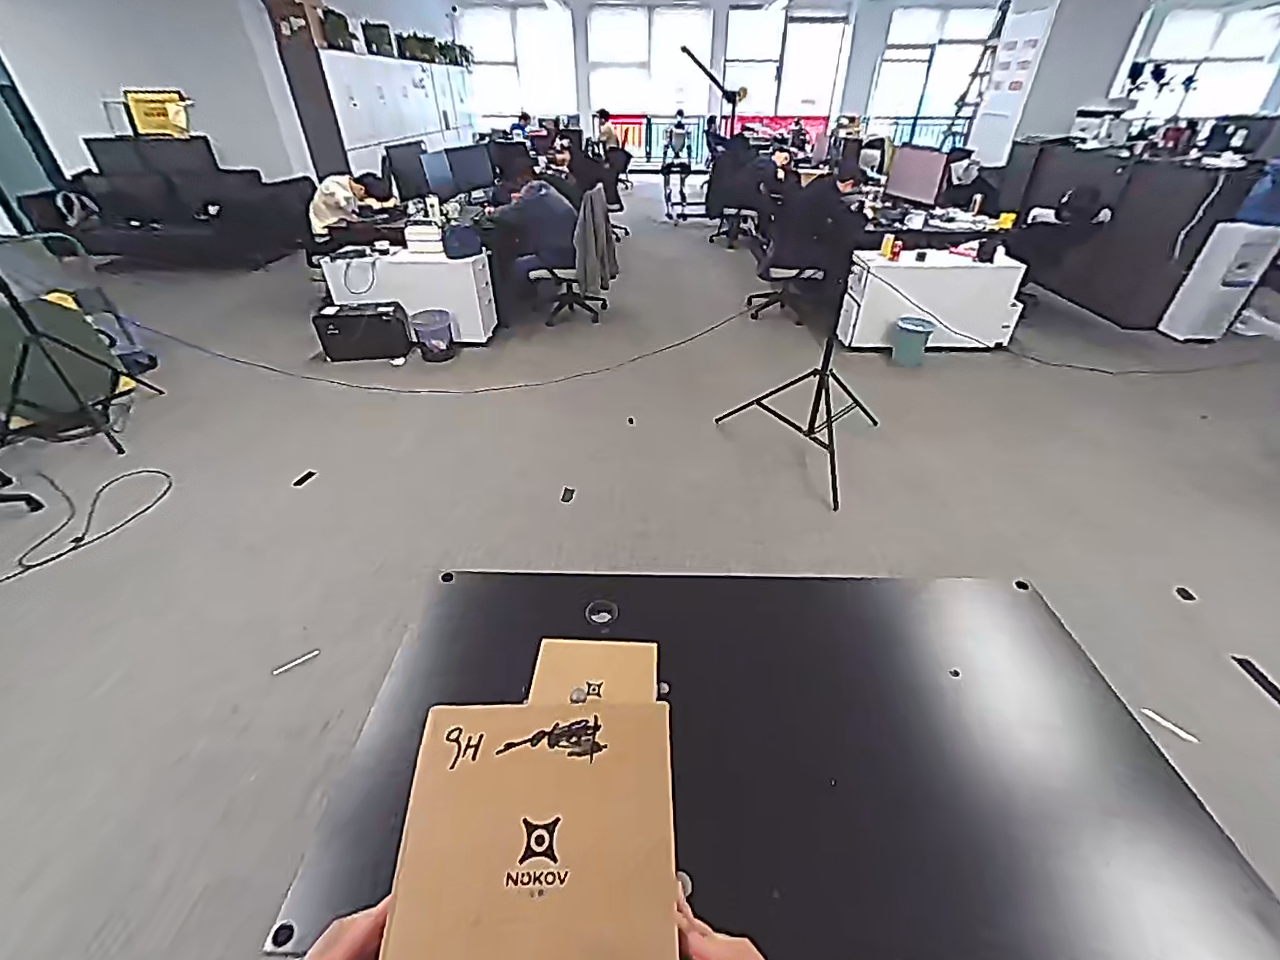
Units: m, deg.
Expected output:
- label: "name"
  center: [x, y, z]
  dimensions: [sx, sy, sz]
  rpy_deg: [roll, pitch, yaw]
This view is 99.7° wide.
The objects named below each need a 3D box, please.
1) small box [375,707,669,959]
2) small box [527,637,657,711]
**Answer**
- label: "small box"
  center: [-0.063, 0.272, 0.388]
  dimensions: [0.168, 0.176, 0.179]
  rpy_deg: [-1, 56, 0]
- label: "small box"
  center: [-0.062, 0.344, 0.751]
  dimensions: [0.168, 0.176, 0.179]
  rpy_deg: [1, 36, 2]
